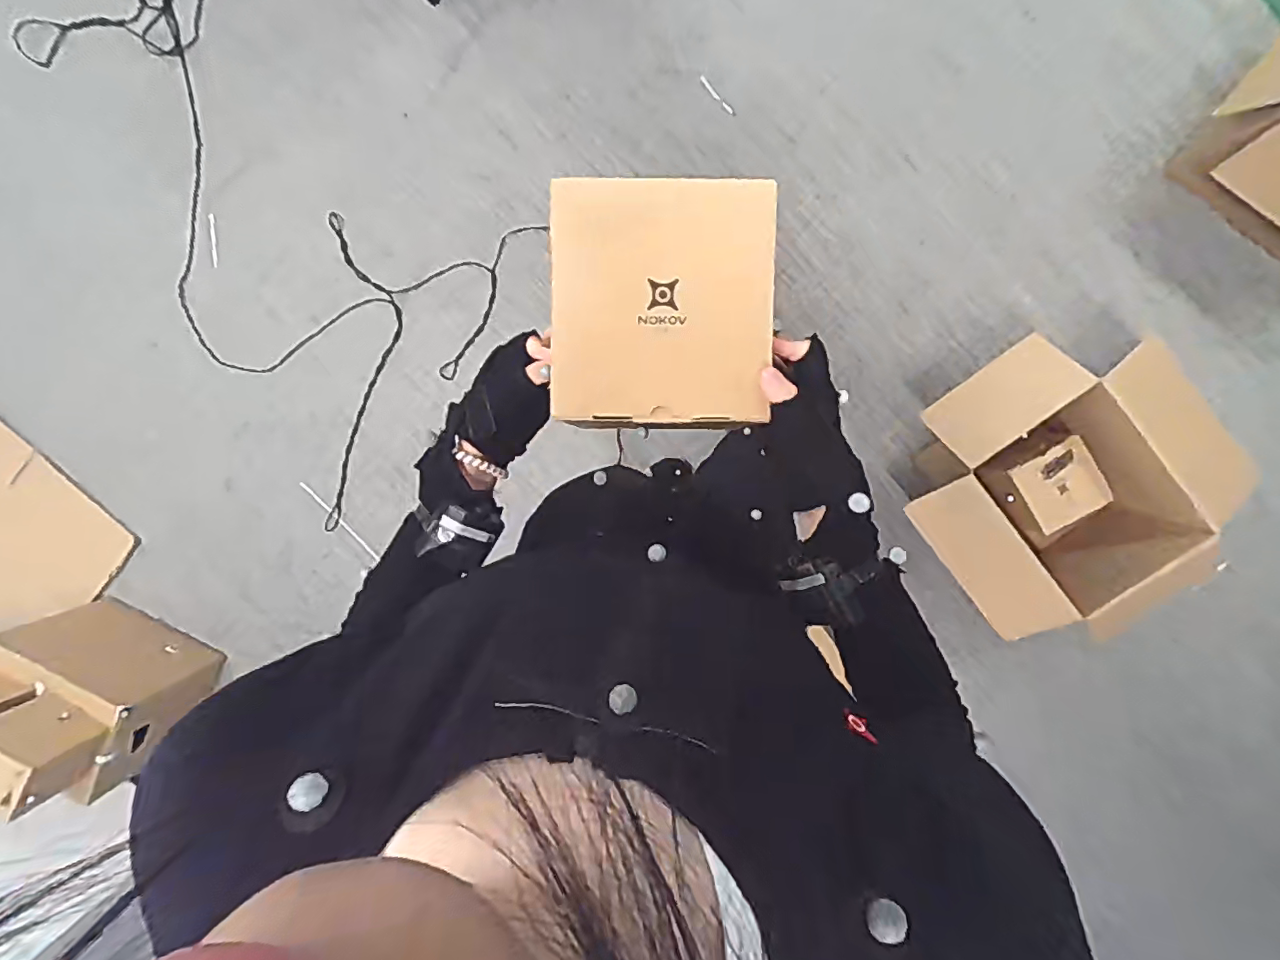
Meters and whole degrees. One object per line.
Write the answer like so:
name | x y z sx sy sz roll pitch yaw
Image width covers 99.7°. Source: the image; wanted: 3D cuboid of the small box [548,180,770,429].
small box | 0.012 -0.136 0.478 0.168 0.176 0.179 -1 94 -1
